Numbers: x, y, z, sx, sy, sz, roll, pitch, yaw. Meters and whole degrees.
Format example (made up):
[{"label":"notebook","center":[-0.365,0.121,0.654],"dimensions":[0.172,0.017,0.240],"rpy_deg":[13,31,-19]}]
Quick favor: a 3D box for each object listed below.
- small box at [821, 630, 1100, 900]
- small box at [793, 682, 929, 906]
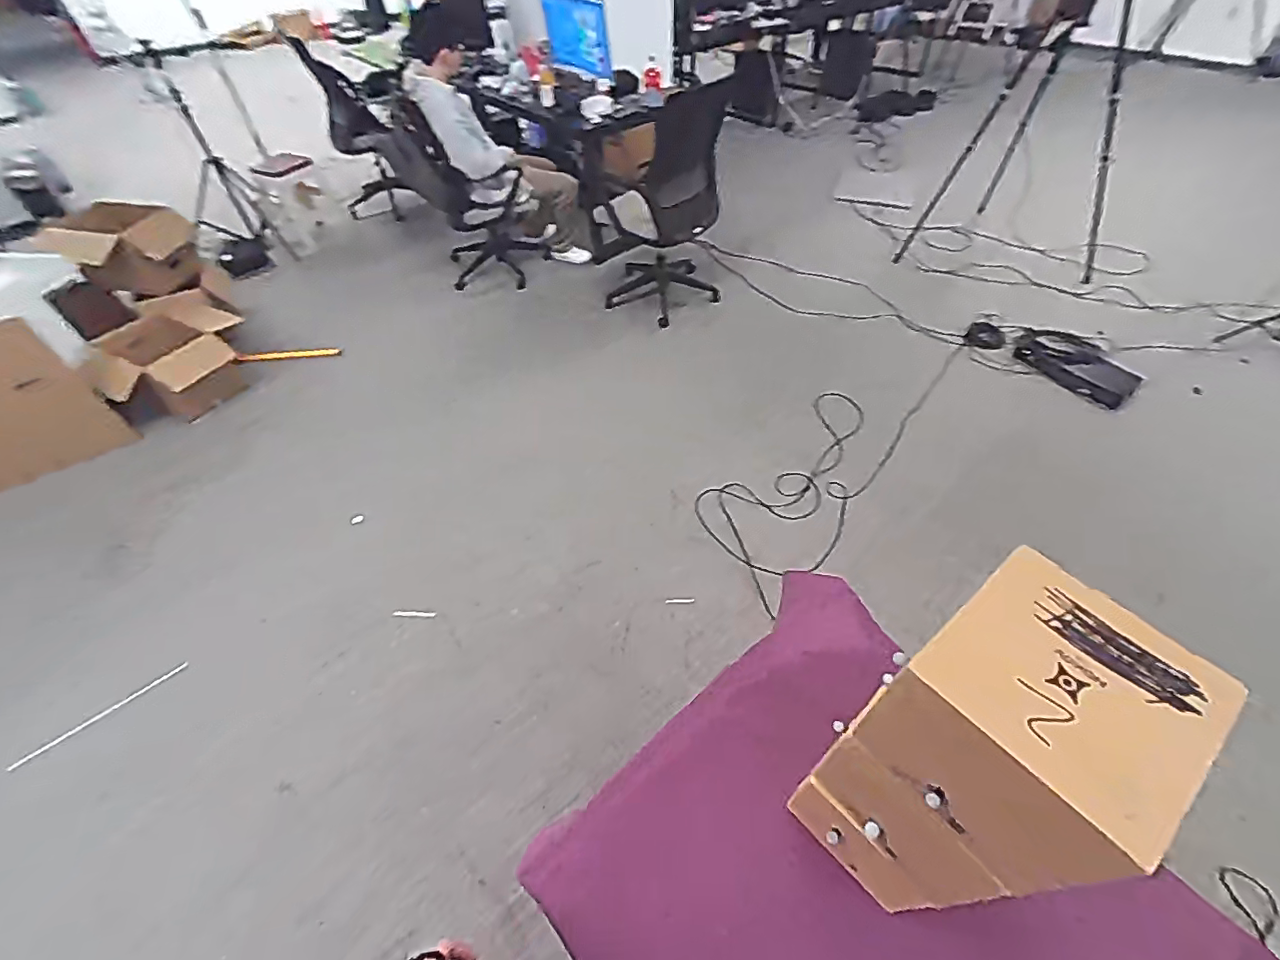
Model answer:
[{"label":"small box","center":[0.321,0.303,0.579],"dimensions":[0.179,0.176,0.168],"rpy_deg":[-31,54,-22]},{"label":"small box","center":[0.319,0.409,0.704],"dimensions":[0.179,0.176,0.168],"rpy_deg":[-35,55,-26]}]
